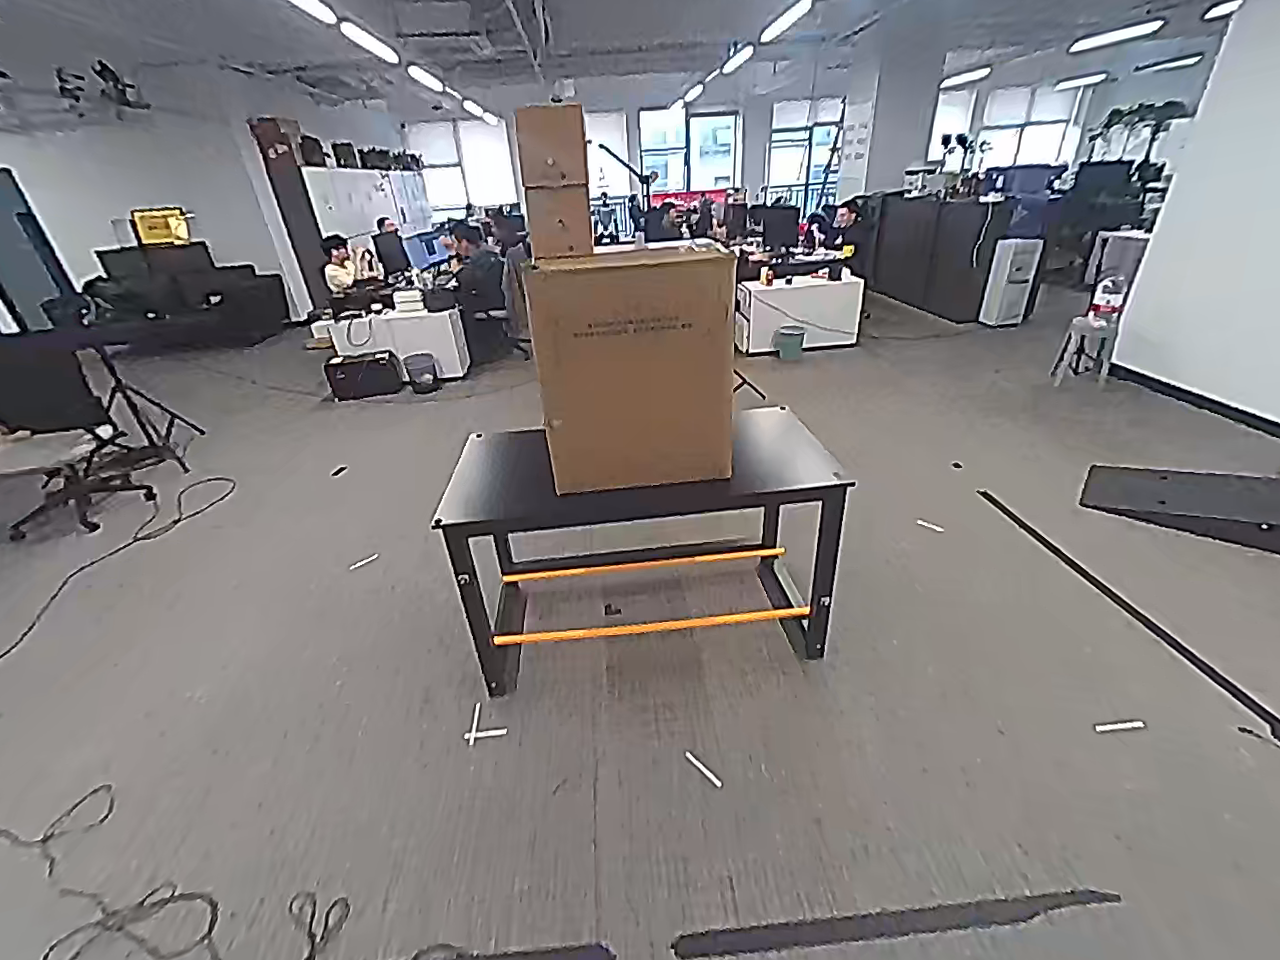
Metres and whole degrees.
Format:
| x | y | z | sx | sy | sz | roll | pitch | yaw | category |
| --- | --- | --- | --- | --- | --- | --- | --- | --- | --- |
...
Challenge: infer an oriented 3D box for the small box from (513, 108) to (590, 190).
| x | y | z | sx | sy | sz | roll | pitch | yaw | category |
| --- | --- | --- | --- | --- | --- | --- | --- | --- | --- |
| -0.217 | -0.833 | 1.373 | 0.168 | 0.176 | 0.179 | -4 | 29 | -2 | small box |

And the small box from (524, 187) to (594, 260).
| x | y | z | sx | sy | sz | roll | pitch | yaw | category |
| --- | --- | --- | --- | --- | --- | --- | --- | --- | --- |
| -0.213 | -0.695 | 1.467 | 0.168 | 0.176 | 0.179 | -5 | 29 | -3 | small box |
